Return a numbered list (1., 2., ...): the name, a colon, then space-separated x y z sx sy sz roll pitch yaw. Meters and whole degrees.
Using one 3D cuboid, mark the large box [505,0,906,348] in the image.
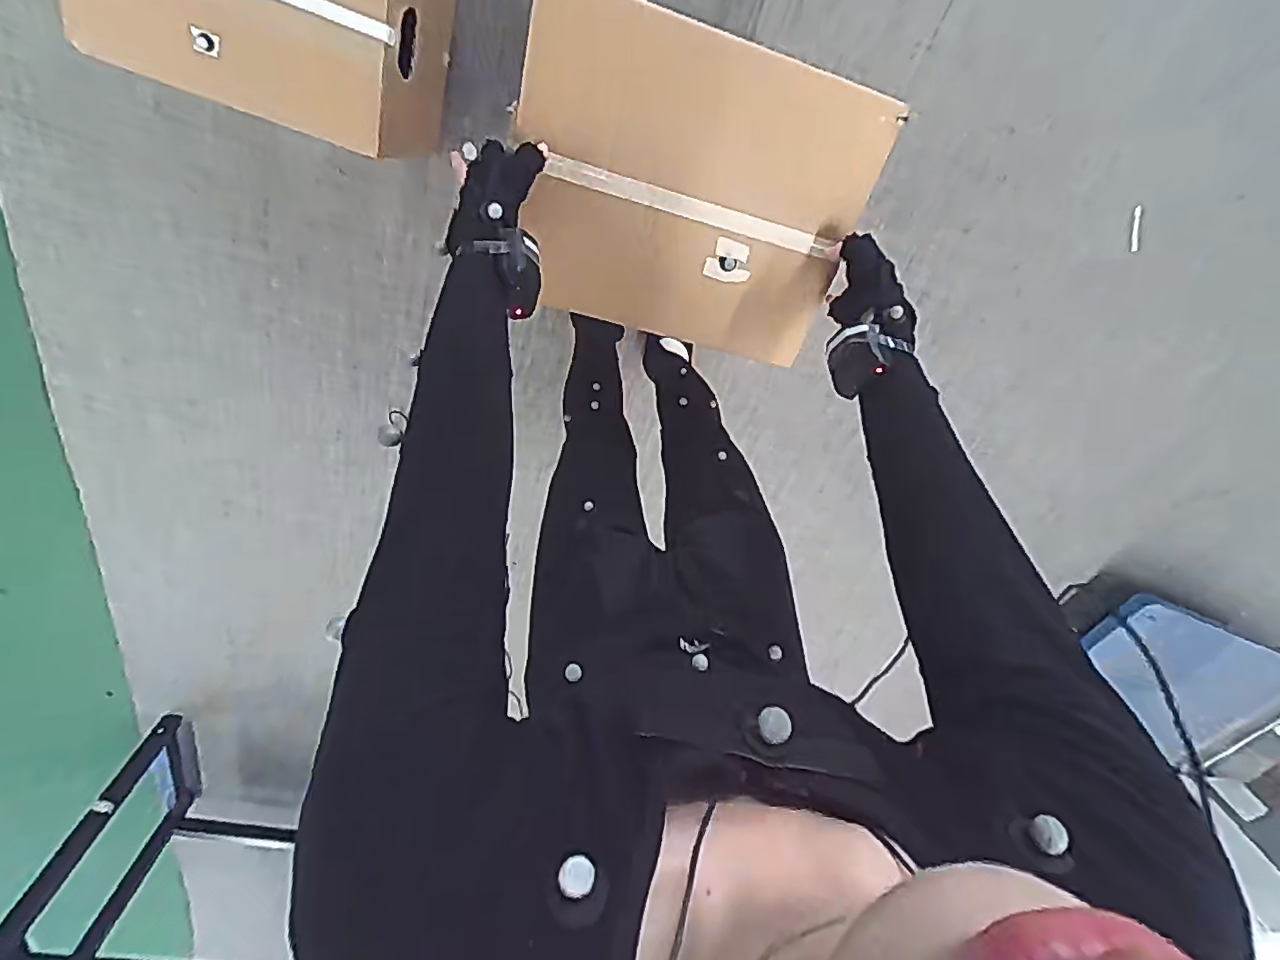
1. large box: 0.050 -0.421 0.750 0.408 0.320 0.320 12 122 -13
